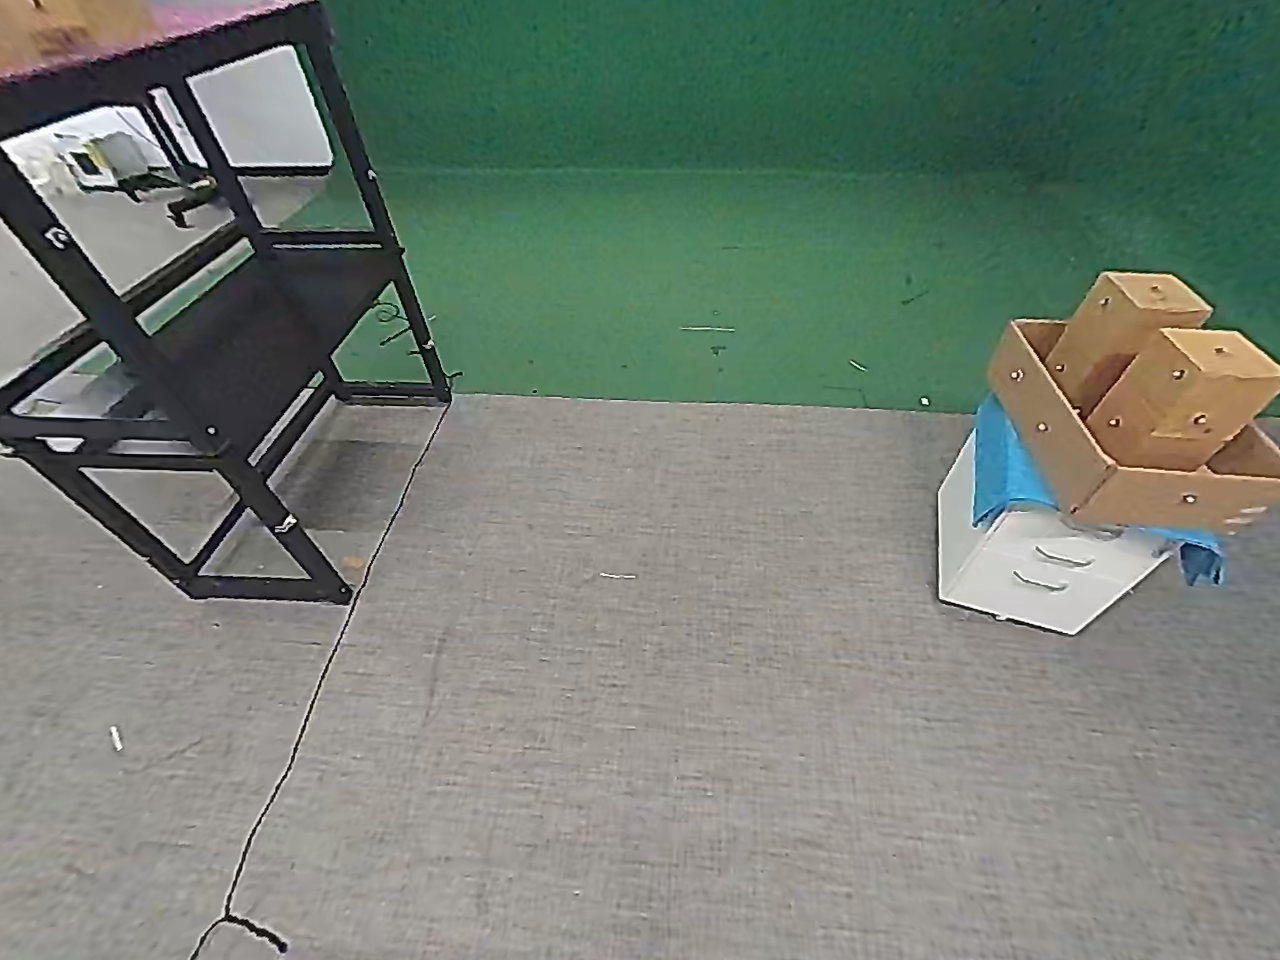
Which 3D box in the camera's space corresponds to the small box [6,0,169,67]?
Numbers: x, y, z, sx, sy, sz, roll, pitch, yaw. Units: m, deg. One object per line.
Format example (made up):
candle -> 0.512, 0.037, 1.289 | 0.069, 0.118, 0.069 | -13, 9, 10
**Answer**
small box -> -1.151, -0.975, 1.122 | 0.168, 0.176, 0.179 | 4, 47, 8
